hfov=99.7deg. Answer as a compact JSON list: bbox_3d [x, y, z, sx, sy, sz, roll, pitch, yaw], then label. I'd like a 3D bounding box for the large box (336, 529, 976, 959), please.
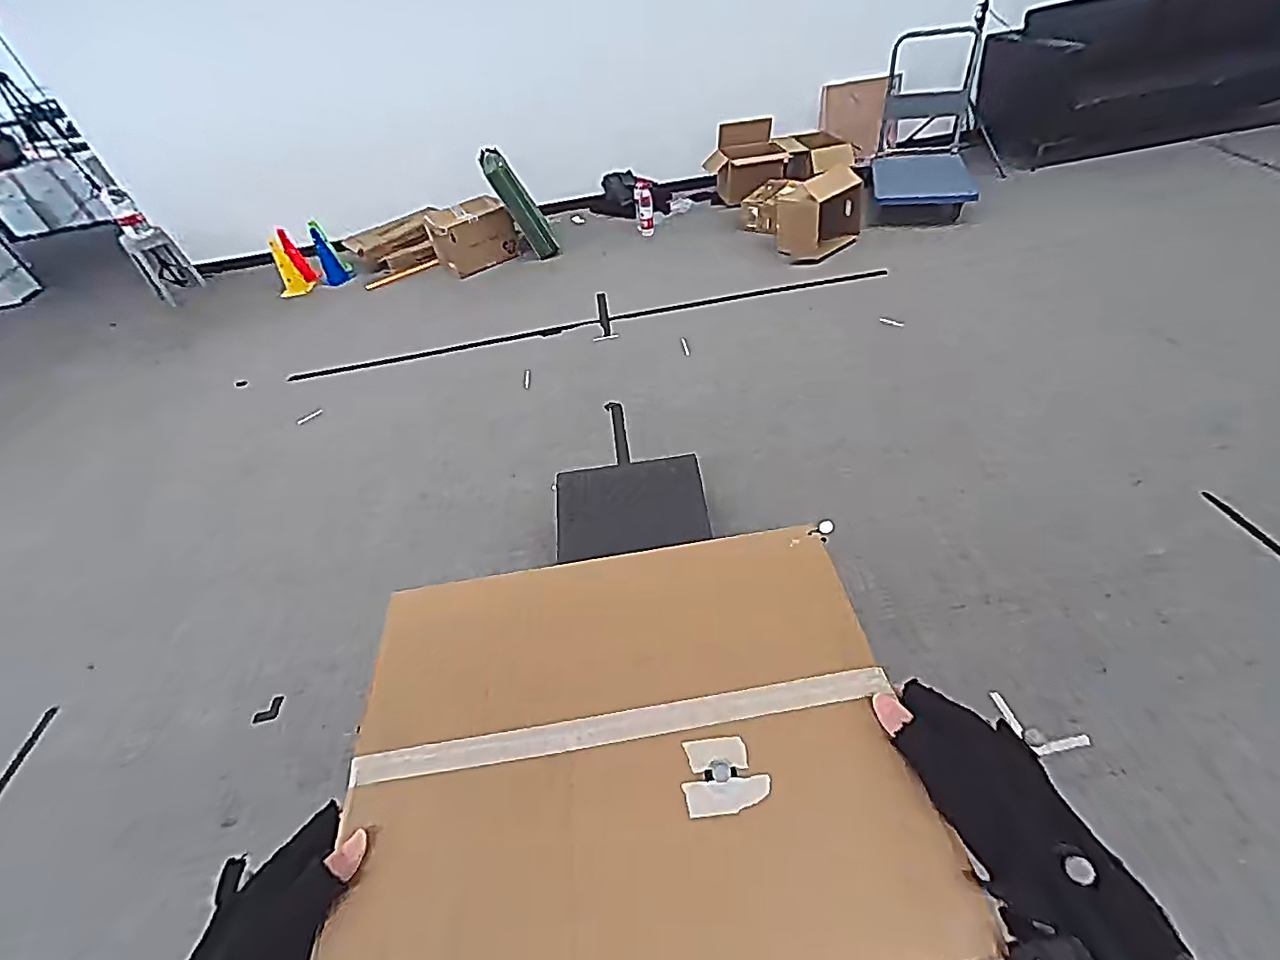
[{"bbox_3d":[0.003,0.290,0.528,0.408,0.320,0.320,-9,47,-1],"label":"large box"}]
